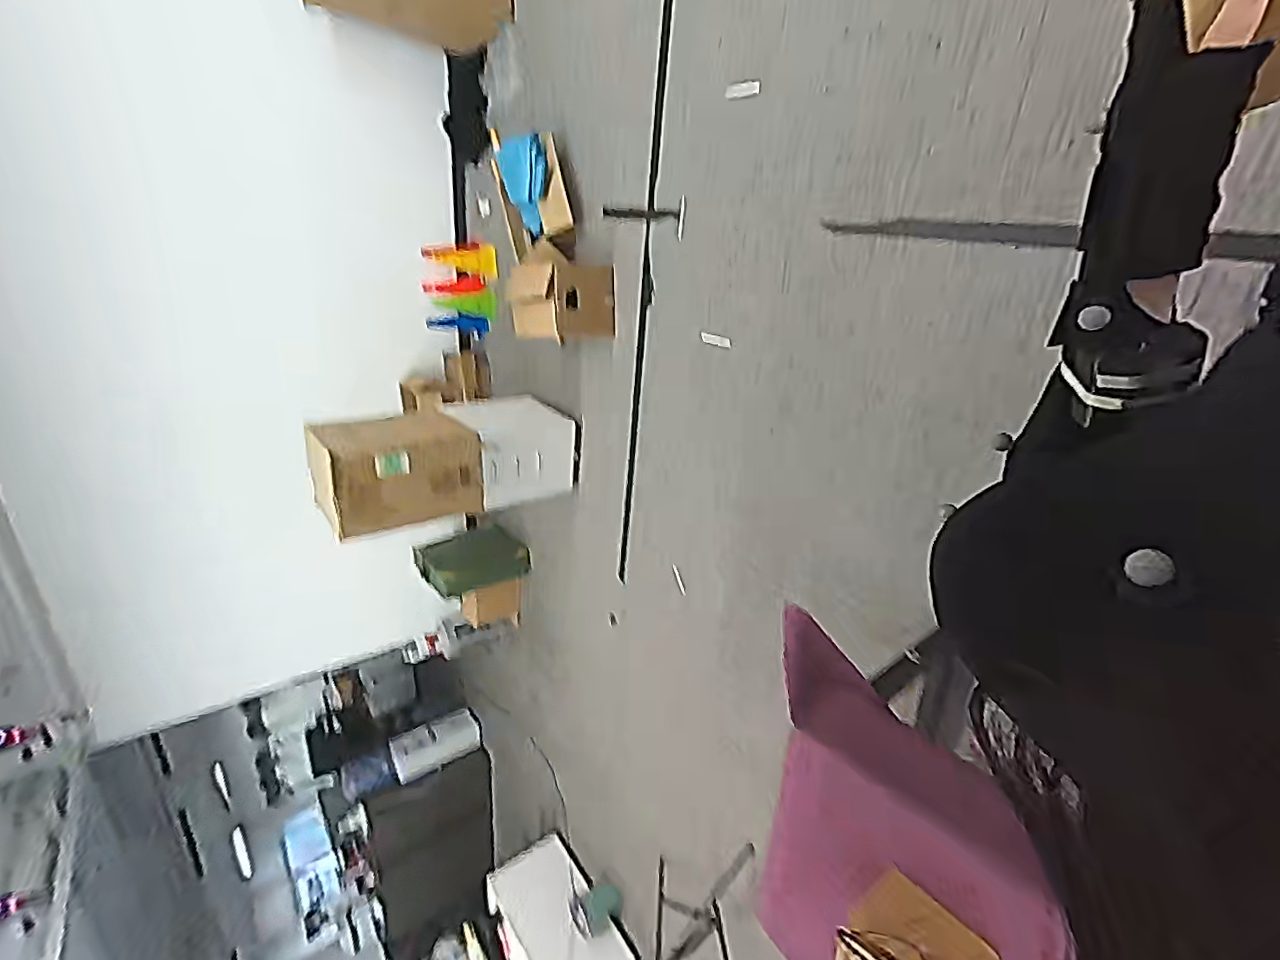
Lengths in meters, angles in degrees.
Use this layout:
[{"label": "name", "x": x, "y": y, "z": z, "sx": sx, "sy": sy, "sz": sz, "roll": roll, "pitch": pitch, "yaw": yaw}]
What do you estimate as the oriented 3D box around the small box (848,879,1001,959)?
[{"label": "small box", "x": 0.457, "y": 0.814, "z": 0.879, "sx": 0.179, "sy": 0.176, "sz": 0.168, "roll": 23, "pitch": 118, "yaw": 47}]
